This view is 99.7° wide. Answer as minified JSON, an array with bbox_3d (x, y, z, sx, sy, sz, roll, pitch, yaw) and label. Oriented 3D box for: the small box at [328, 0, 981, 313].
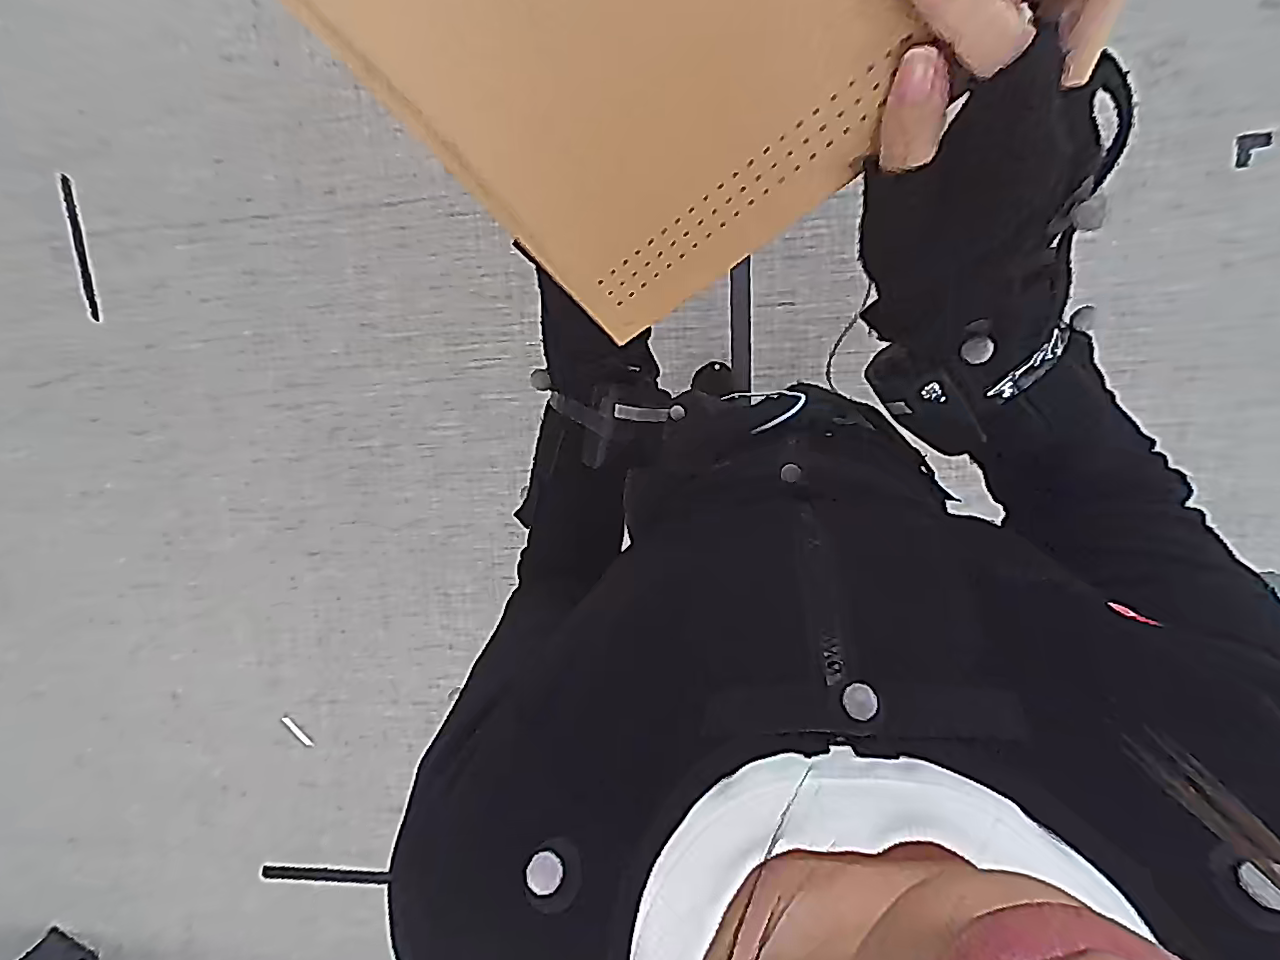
[{"bbox_3d":[0.004,-0.208,0.227,0.179,0.168,0.176,-31,136,21],"label":"small box"}]
